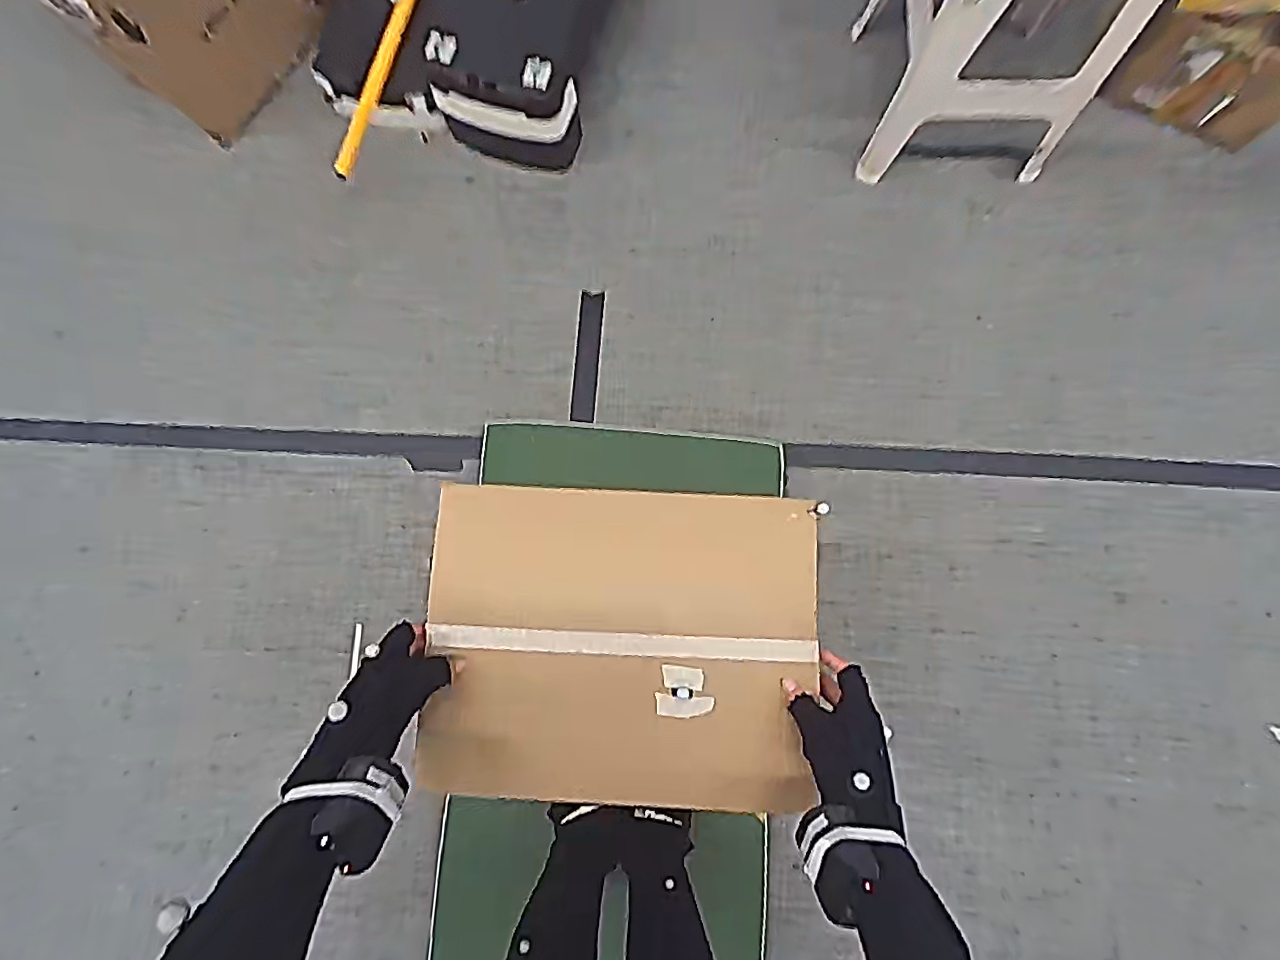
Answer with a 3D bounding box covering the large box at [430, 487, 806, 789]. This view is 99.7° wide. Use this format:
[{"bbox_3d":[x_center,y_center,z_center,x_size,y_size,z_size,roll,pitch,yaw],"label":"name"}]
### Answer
[{"bbox_3d":[-0.021,0.189,0.735,0.408,0.320,0.320,2,82,0],"label":"large box"}]
